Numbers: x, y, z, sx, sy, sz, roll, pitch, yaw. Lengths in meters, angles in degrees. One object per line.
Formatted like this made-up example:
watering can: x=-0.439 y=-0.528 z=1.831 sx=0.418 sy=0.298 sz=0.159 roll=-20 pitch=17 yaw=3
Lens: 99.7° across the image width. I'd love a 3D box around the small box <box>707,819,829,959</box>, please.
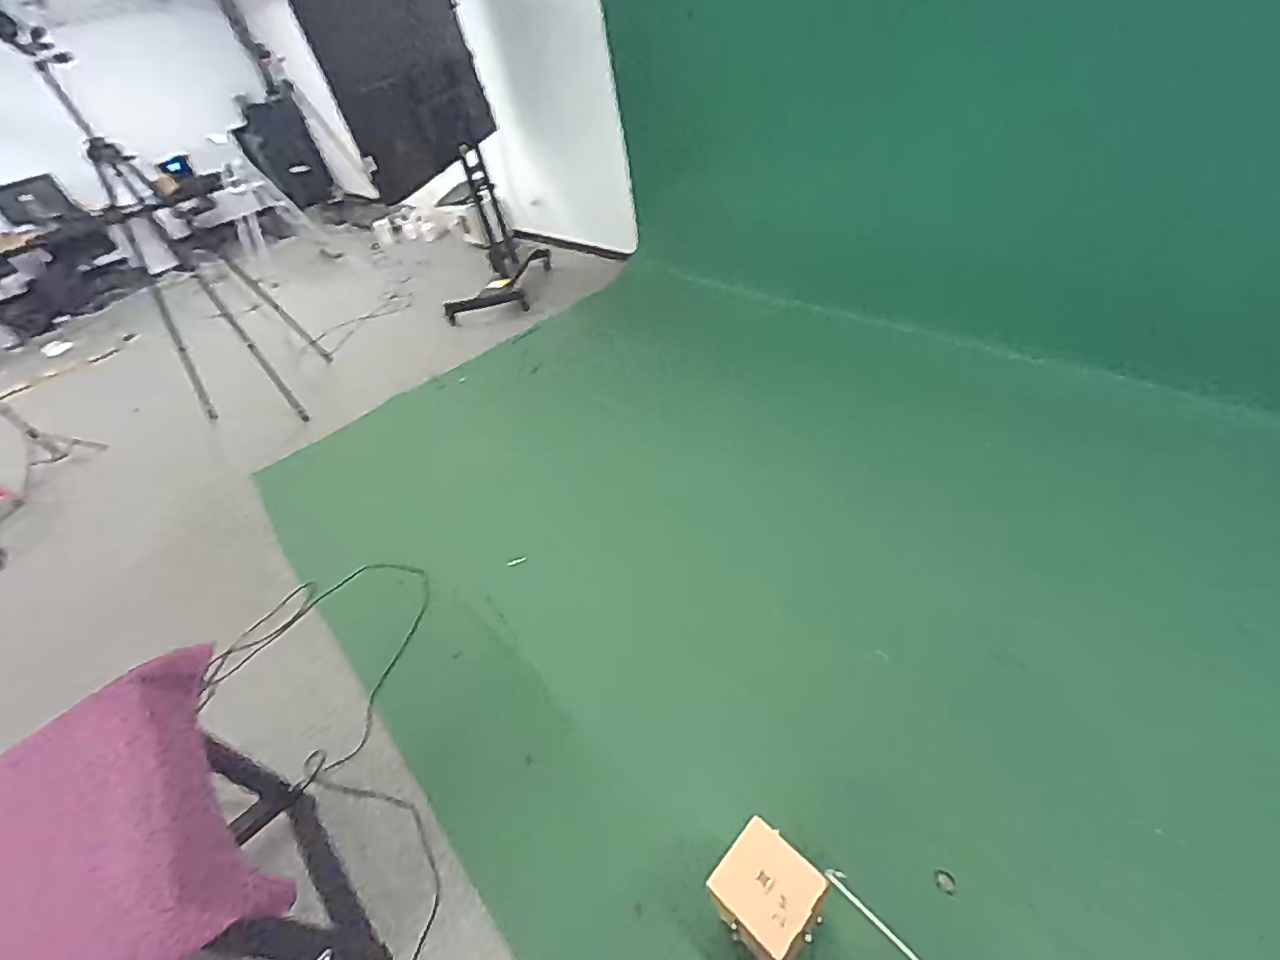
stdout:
small box: x=0.257 y=0.844 z=1.095 sx=0.168 sy=0.176 sz=0.179 roll=-38 pitch=47 yaw=-26
